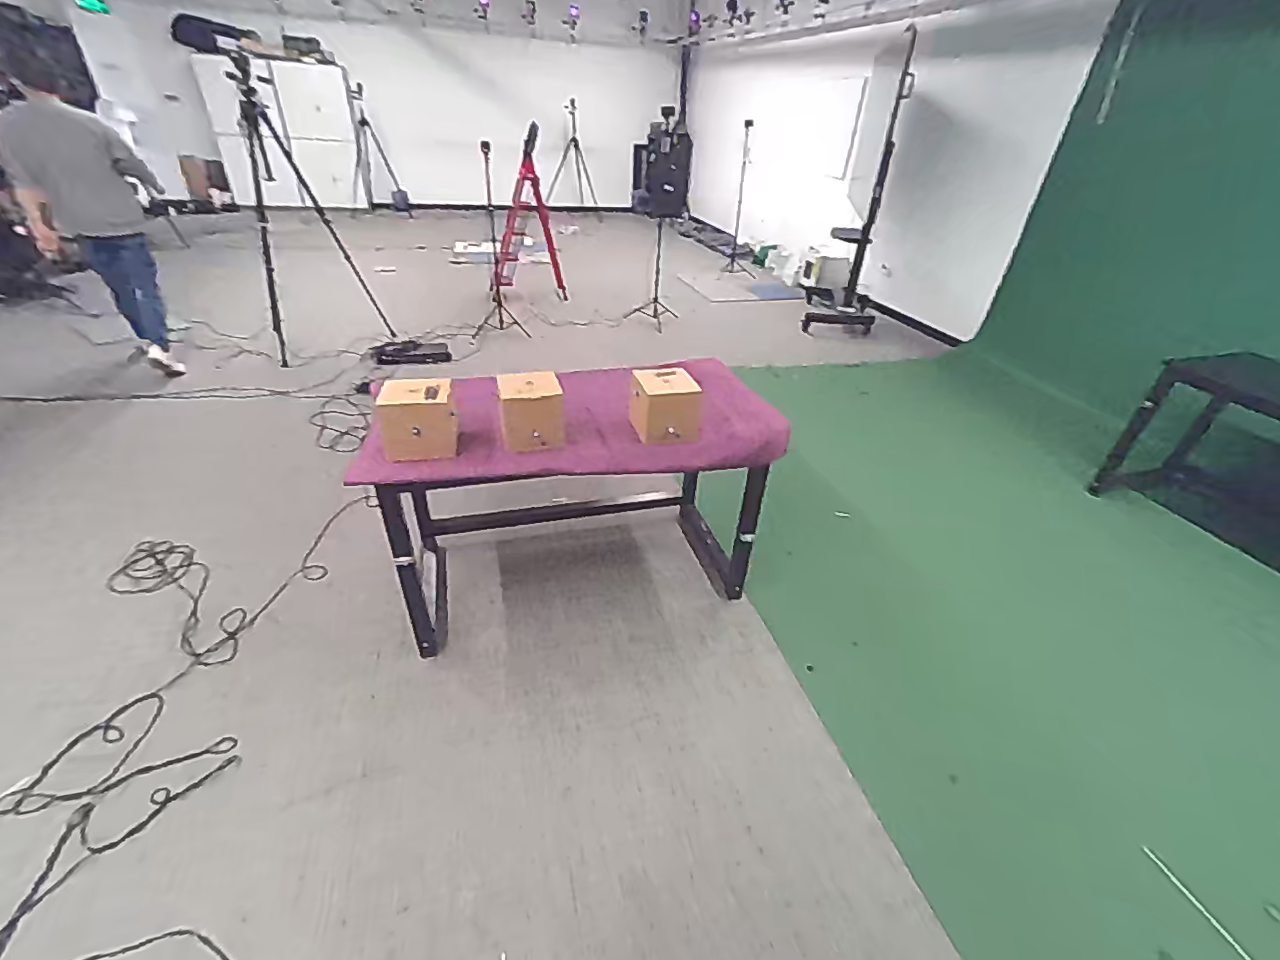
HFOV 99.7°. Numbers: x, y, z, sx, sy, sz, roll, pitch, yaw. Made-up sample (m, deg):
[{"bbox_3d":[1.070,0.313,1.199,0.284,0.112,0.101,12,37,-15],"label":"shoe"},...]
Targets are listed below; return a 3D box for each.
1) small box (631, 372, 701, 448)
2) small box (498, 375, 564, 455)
[{"bbox_3d":[0.071,-0.213,1.638,0.168,0.176,0.179,-6,35,-15],"label":"small box"},{"bbox_3d":[-0.315,-0.189,1.557,0.168,0.176,0.179,-8,34,-16],"label":"small box"}]
